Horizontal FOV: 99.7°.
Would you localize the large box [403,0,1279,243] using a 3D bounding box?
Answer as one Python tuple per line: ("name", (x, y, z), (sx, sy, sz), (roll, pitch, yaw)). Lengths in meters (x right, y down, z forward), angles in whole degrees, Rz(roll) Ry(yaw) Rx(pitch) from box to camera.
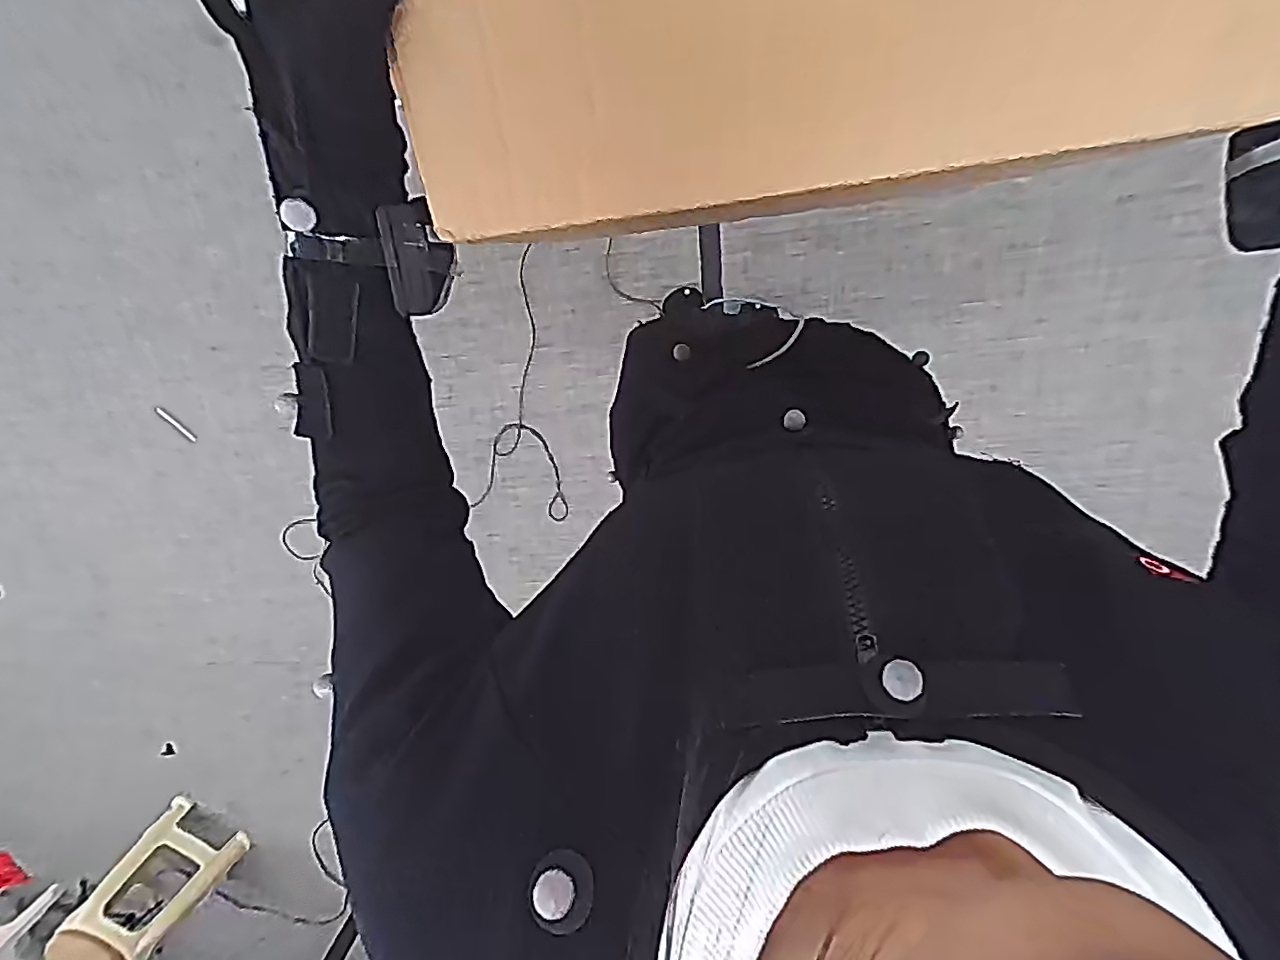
("large box", (0.084, -0.353, 0.354), (0.408, 0.320, 0.320), (-6, 114, 7))
